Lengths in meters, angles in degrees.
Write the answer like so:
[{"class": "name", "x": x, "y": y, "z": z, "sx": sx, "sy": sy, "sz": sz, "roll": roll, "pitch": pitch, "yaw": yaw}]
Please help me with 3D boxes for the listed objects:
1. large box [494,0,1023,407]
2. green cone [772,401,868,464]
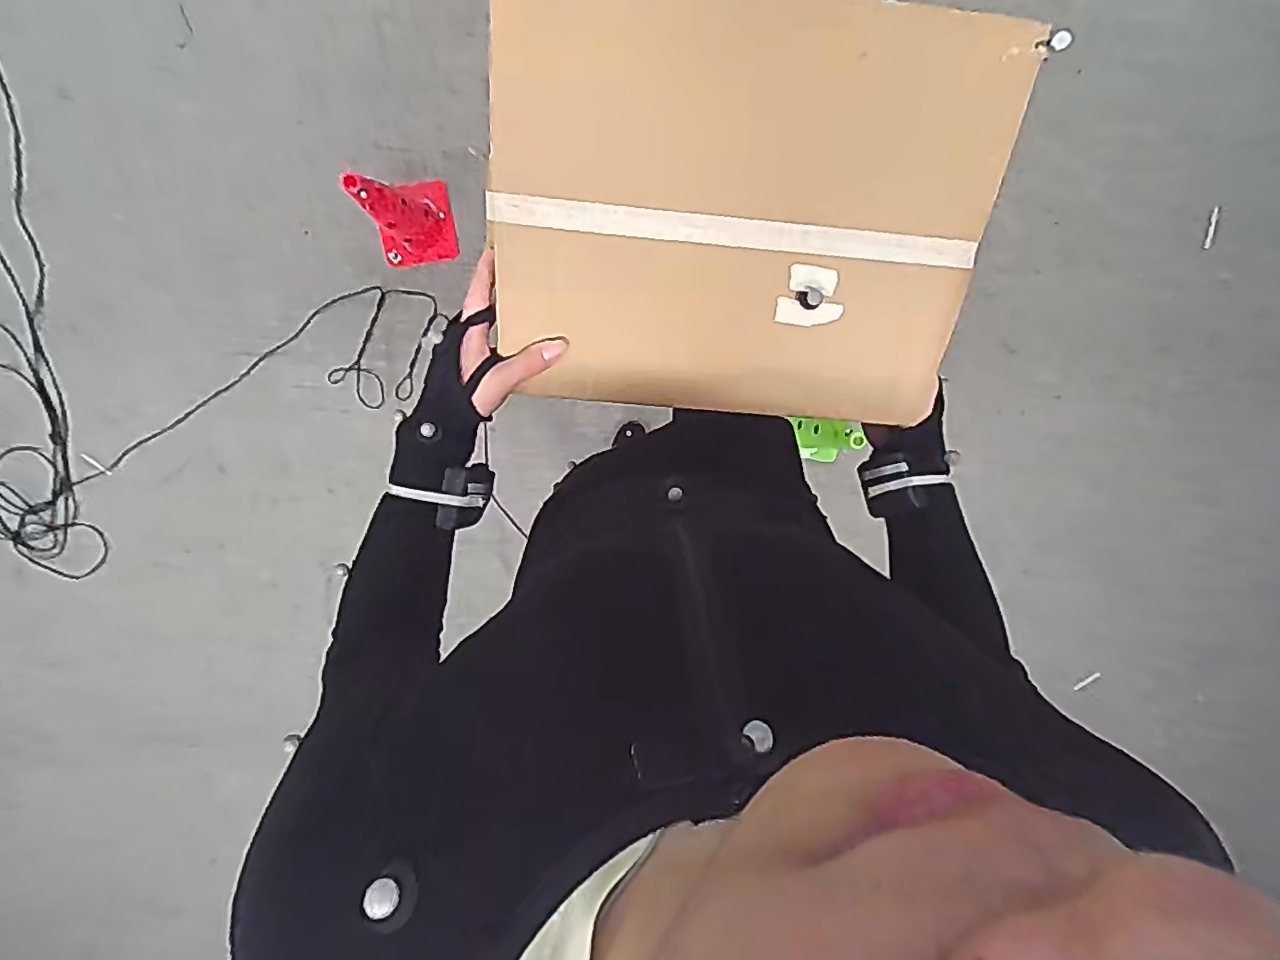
[{"class": "large box", "x": 0.073, "y": -0.281, "z": 0.589, "sx": 0.408, "sy": 0.320, "sz": 0.320, "roll": 3, "pitch": 116, "yaw": -5}, {"class": "green cone", "x": 0.504, "y": -0.122, "z": 1.422, "sx": 0.200, "sy": 0.368, "sz": 0.202, "roll": 8, "pitch": 100, "yaw": -3}]
